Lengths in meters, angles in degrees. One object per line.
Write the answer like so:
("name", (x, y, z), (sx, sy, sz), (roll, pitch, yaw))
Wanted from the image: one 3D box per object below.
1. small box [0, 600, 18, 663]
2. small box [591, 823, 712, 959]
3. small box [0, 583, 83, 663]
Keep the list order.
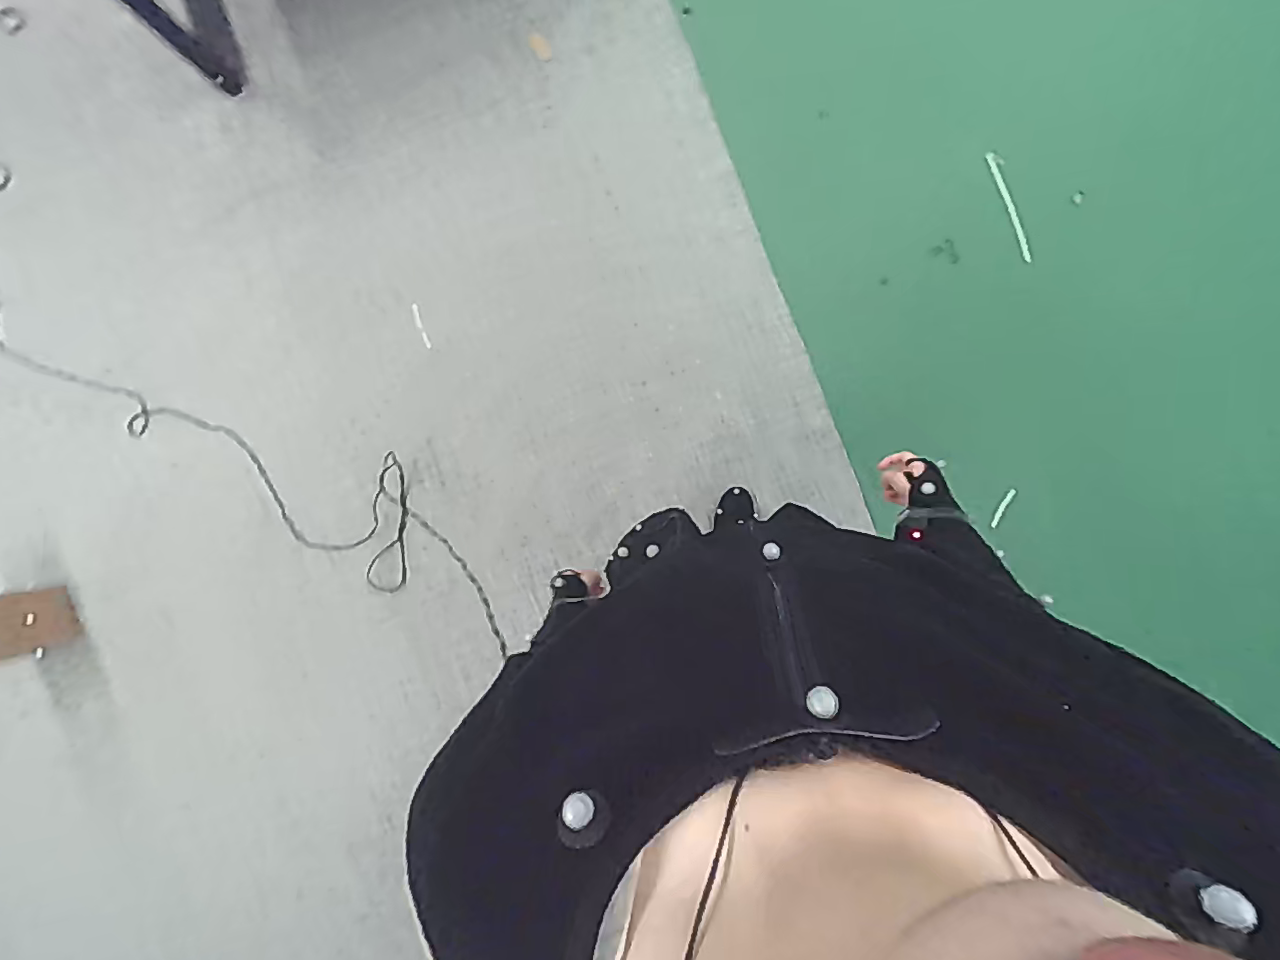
("small box", (-1.770, 0.418, 1.379), (0.168, 0.176, 0.179), (-21, 88, 2))
("small box", (0.027, 0.781, 1.002), (0.179, 0.176, 0.168), (-18, 88, 3))
("small box", (-1.764, 0.411, 1.543), (0.168, 0.176, 0.179), (-21, 88, 3))
